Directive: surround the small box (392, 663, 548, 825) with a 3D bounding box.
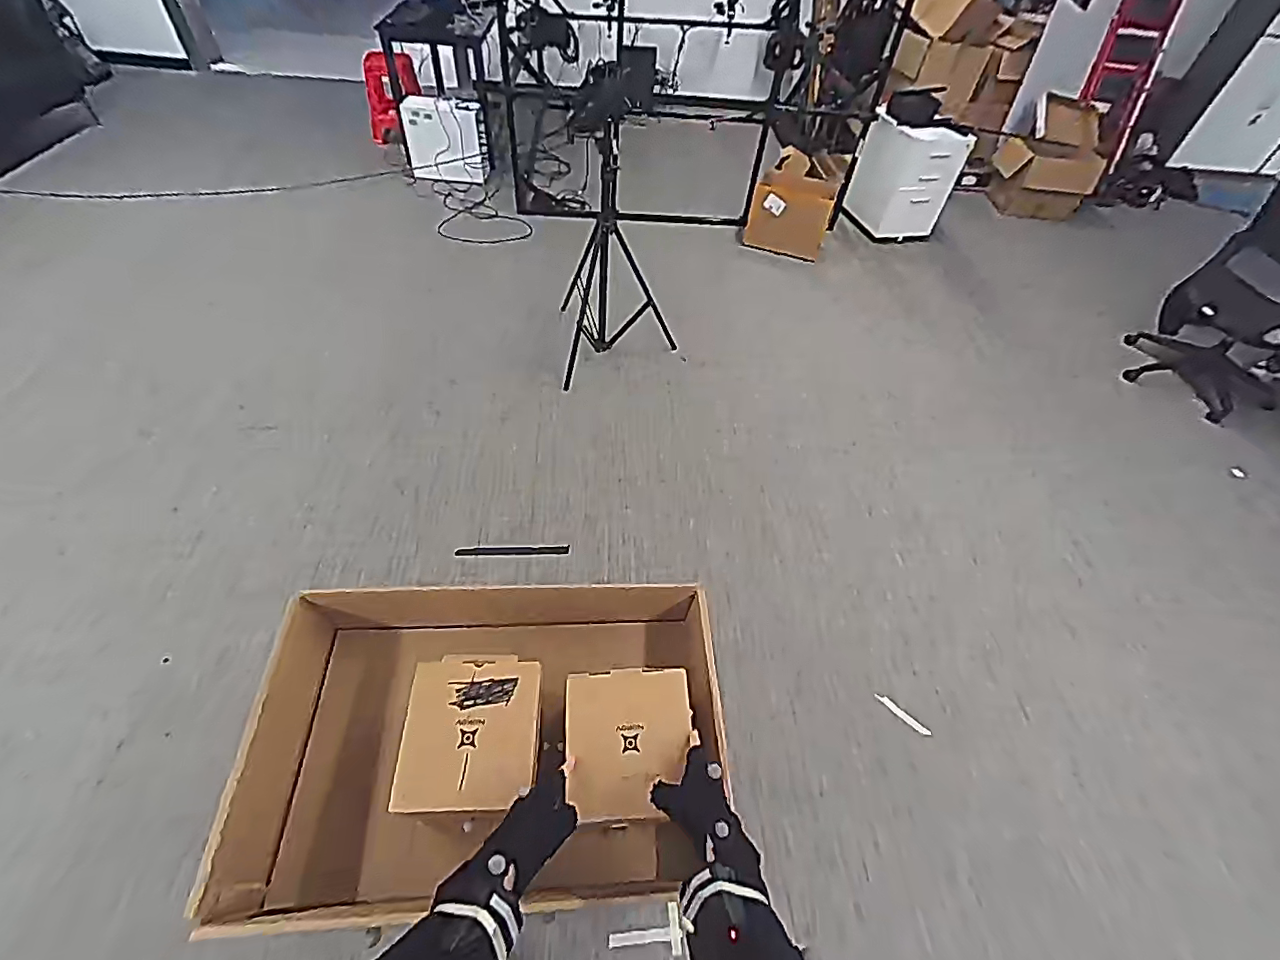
[{"bbox_3d":[-0.217,0.366,0.745,0.168,0.176,0.179,1,55,-5],"label":"small box"}]
